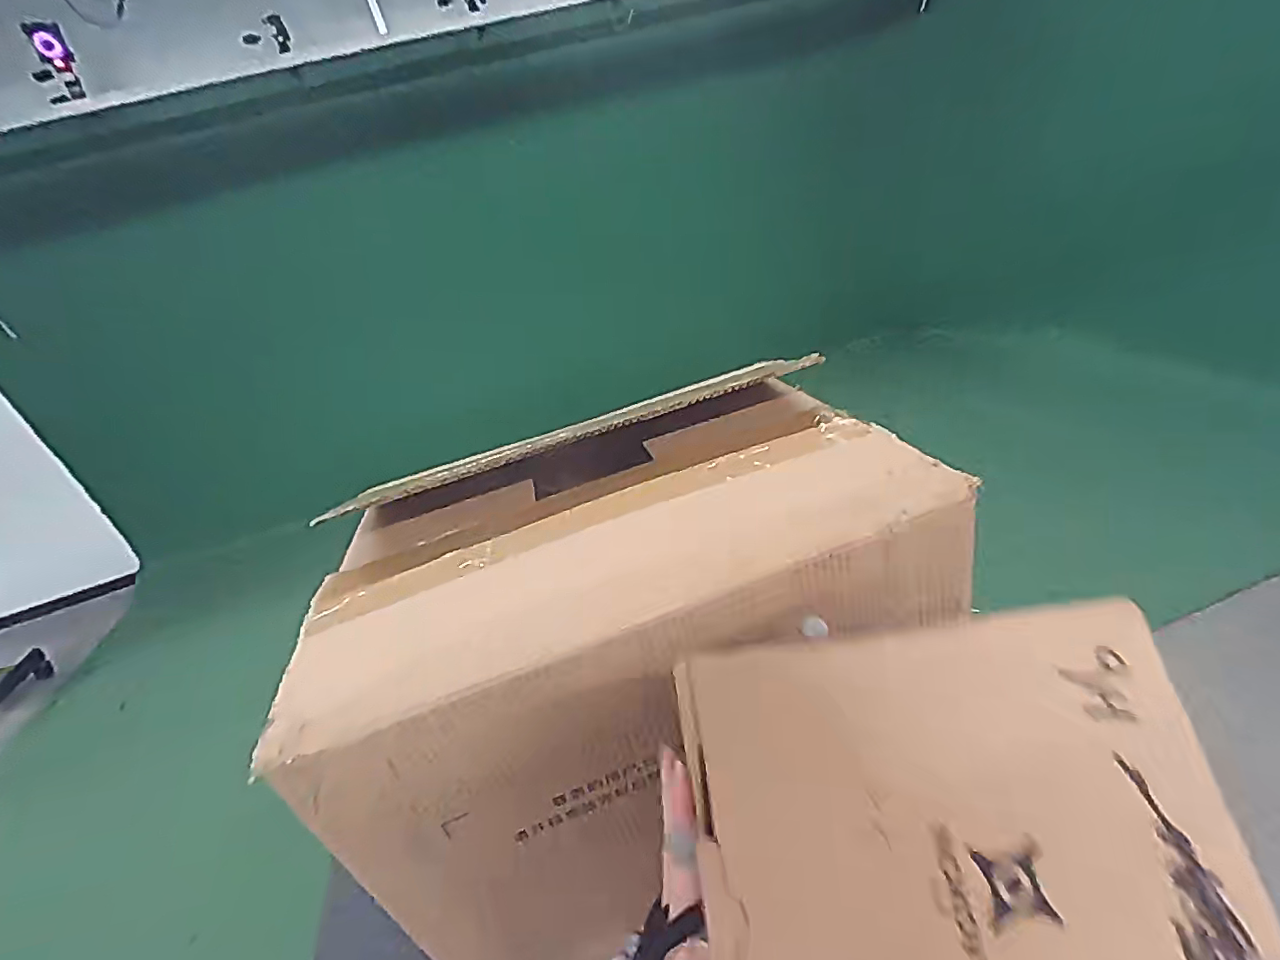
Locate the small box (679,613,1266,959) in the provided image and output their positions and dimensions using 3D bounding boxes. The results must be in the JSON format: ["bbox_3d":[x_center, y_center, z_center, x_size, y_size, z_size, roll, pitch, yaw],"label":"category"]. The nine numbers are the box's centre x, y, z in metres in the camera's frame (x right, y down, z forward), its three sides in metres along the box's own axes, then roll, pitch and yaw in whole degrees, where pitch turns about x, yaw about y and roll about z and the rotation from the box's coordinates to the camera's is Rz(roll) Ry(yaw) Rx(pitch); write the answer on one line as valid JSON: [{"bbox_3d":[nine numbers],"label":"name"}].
[{"bbox_3d":[0.115,0.163,0.258,0.179,0.176,0.168,-7,71,1],"label":"small box"}]
